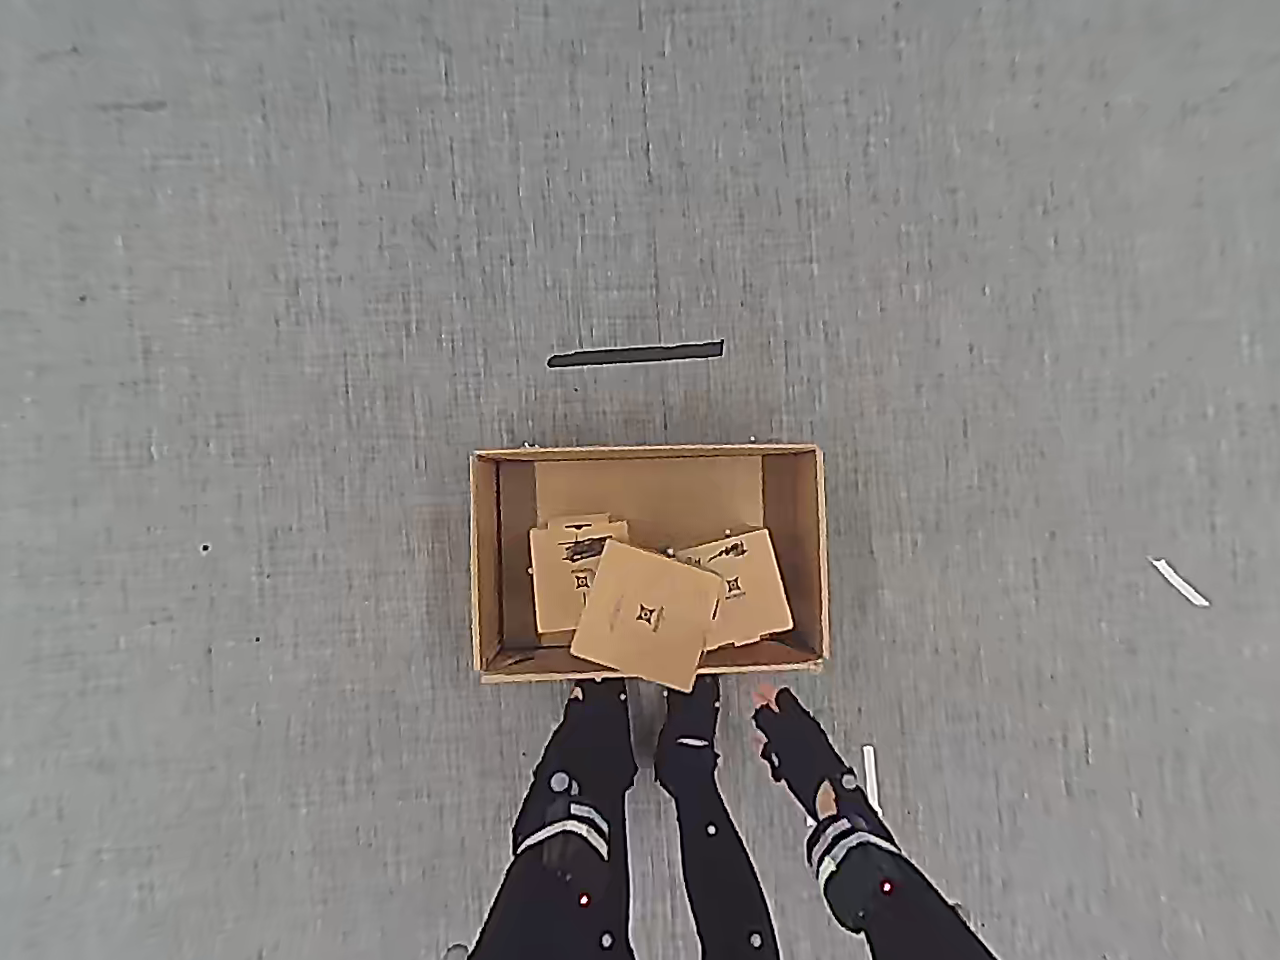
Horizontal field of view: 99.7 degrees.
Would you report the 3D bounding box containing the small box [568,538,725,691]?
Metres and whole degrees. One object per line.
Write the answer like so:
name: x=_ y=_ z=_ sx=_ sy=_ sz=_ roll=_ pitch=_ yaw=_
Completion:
small box: x=0.009 y=0.190 z=0.813 sx=0.179 sy=0.176 sz=0.168 roll=19 pitch=82 yaw=2
